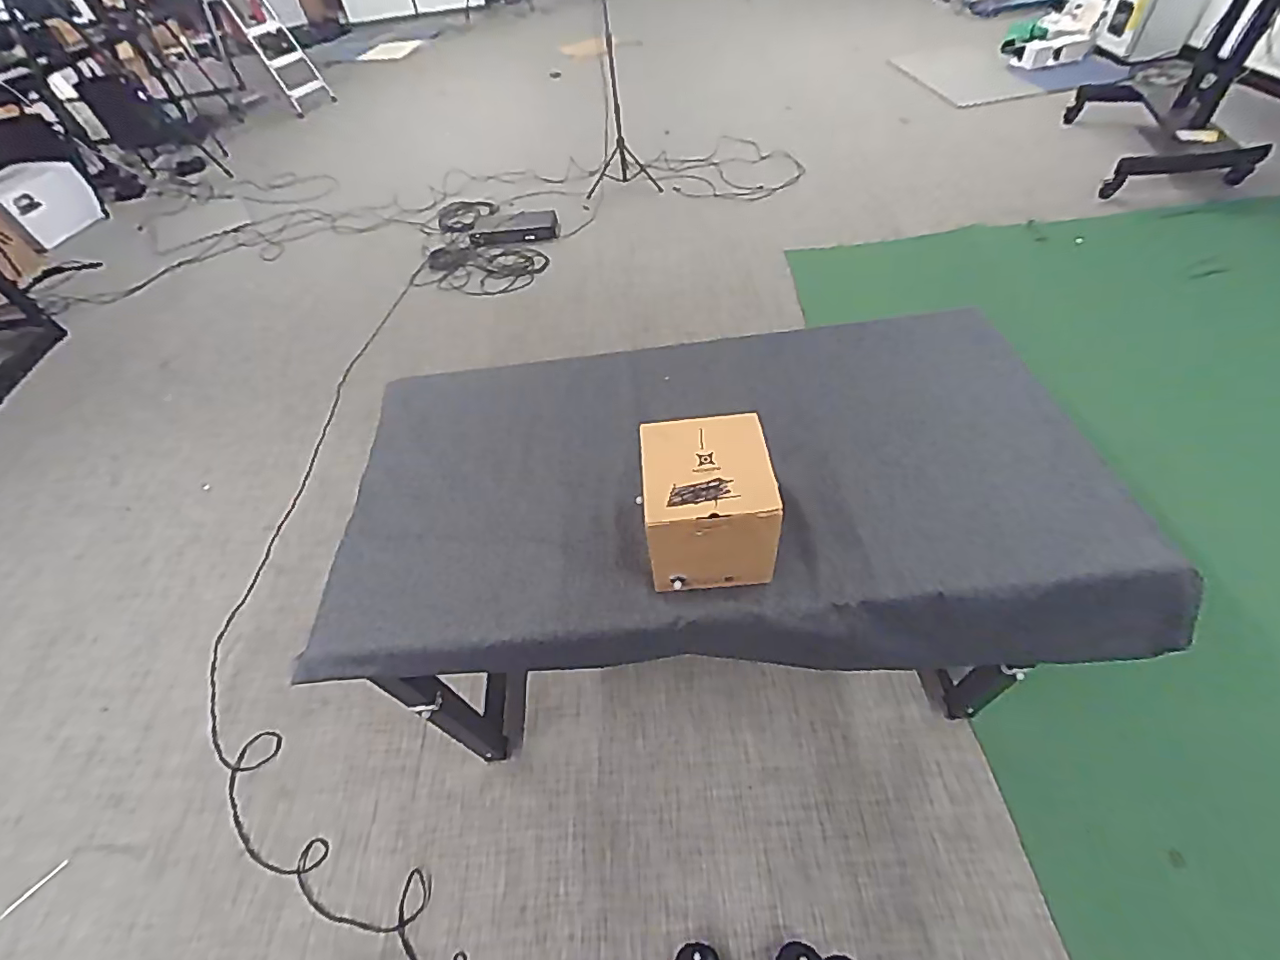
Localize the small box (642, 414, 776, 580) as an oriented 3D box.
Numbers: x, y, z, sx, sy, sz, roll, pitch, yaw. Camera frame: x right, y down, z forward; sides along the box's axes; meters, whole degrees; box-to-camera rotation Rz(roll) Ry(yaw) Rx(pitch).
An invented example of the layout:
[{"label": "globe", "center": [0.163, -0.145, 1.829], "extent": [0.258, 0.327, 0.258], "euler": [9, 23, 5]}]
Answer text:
[{"label": "small box", "center": [0.094, 0.031, 0.776], "extent": [0.168, 0.176, 0.179], "euler": [-5, 49, 3]}]
